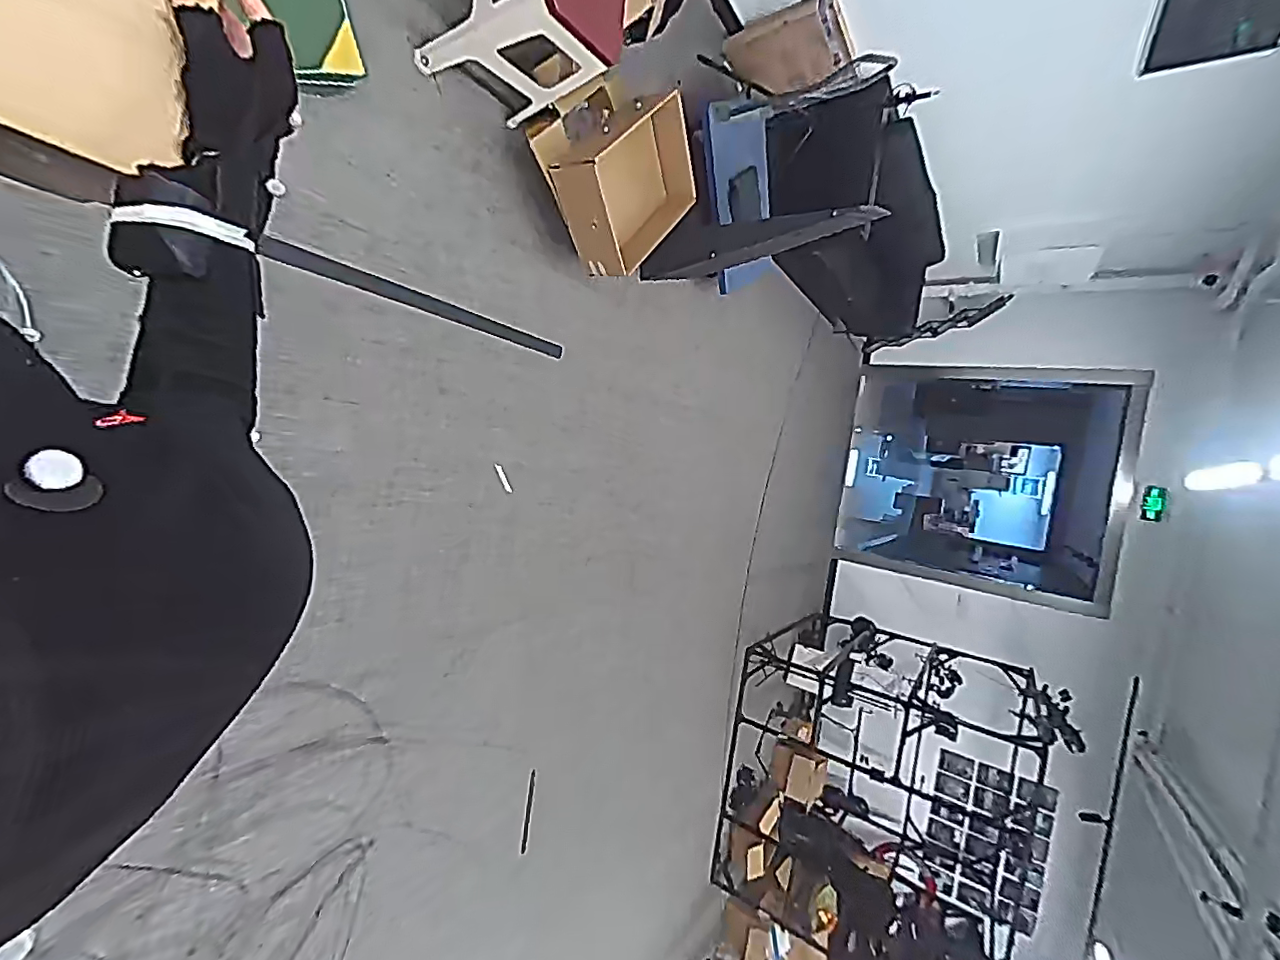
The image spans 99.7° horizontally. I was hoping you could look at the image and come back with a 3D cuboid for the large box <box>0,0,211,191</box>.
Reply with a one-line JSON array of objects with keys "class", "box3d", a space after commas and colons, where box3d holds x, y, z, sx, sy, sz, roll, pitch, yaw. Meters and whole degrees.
[{"class": "large box", "box3d": [-0.549, -0.424, 0.320, 0.408, 0.320, 0.320, 7, 100, -57]}]
